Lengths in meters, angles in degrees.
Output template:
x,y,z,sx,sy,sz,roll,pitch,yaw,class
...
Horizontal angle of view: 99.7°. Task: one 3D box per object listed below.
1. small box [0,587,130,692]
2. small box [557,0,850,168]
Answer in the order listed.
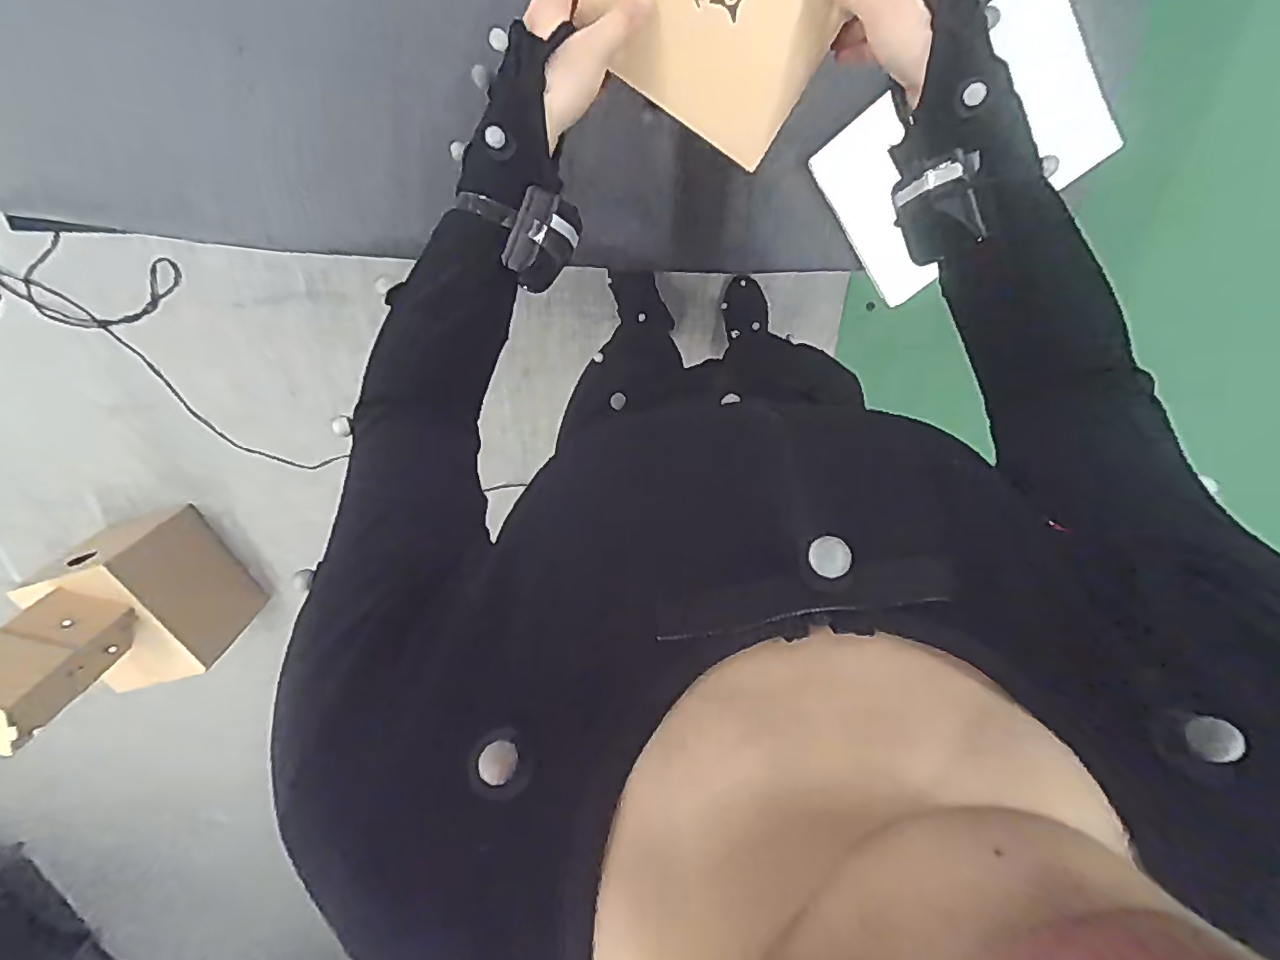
x,y,z,sx,sy,sz,roll,pitch,yaw,class
-1.441,0.397,1.362,0.179,0.176,0.168,20,116,-13,small box
0.050,-0.395,0.439,0.179,0.176,0.168,22,124,-20,small box
